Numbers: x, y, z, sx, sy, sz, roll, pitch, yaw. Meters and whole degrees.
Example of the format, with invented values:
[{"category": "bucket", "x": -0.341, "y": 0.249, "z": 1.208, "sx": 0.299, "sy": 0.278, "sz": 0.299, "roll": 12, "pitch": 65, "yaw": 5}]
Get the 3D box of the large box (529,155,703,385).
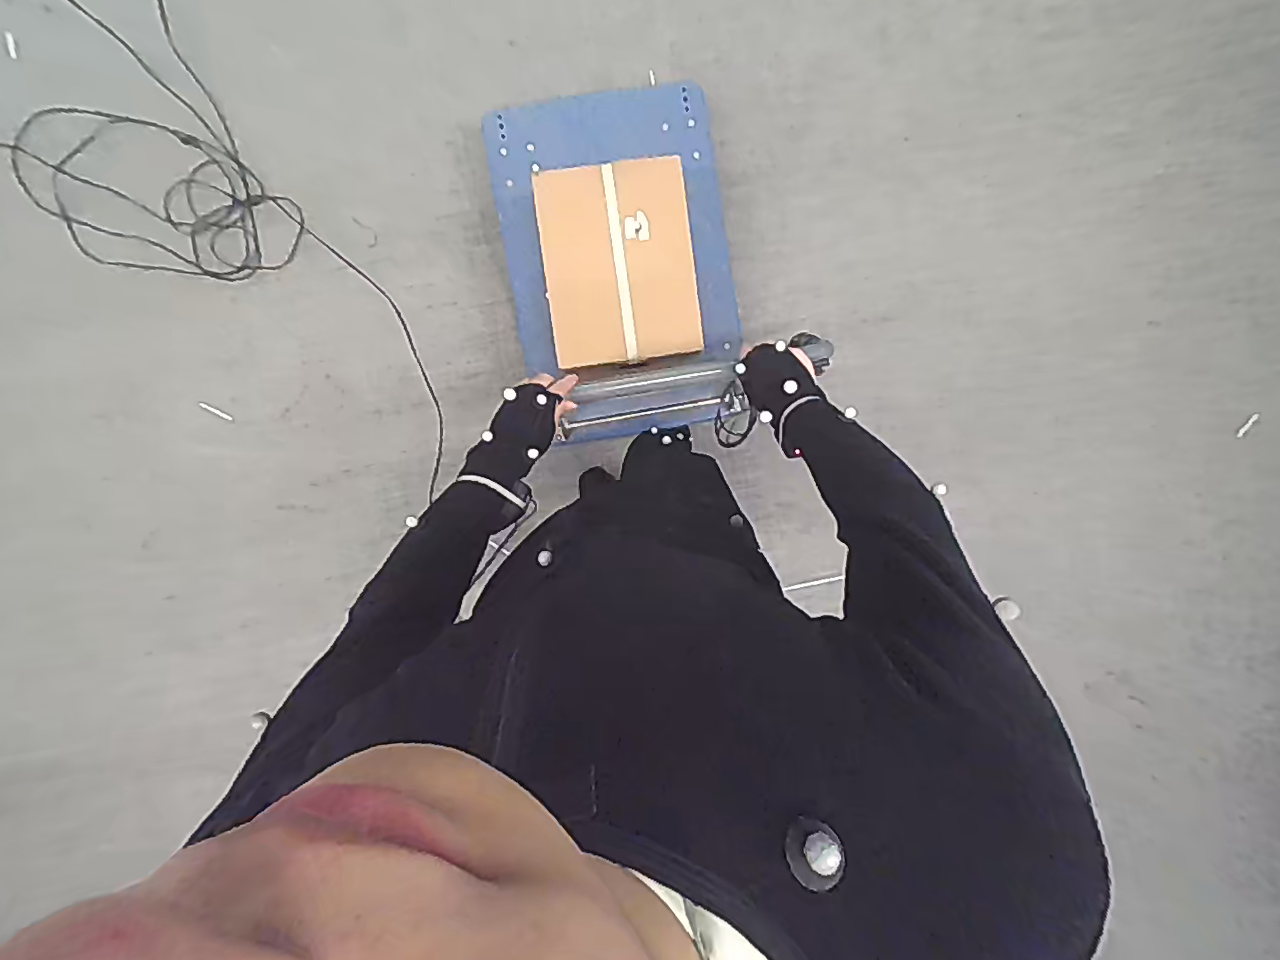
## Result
[{"category": "large box", "x": -0.052, "y": -0.457, "z": 1.261, "sx": 0.320, "sy": 0.320, "sz": 0.408, "roll": -8, "pitch": 94, "yaw": -3}]
